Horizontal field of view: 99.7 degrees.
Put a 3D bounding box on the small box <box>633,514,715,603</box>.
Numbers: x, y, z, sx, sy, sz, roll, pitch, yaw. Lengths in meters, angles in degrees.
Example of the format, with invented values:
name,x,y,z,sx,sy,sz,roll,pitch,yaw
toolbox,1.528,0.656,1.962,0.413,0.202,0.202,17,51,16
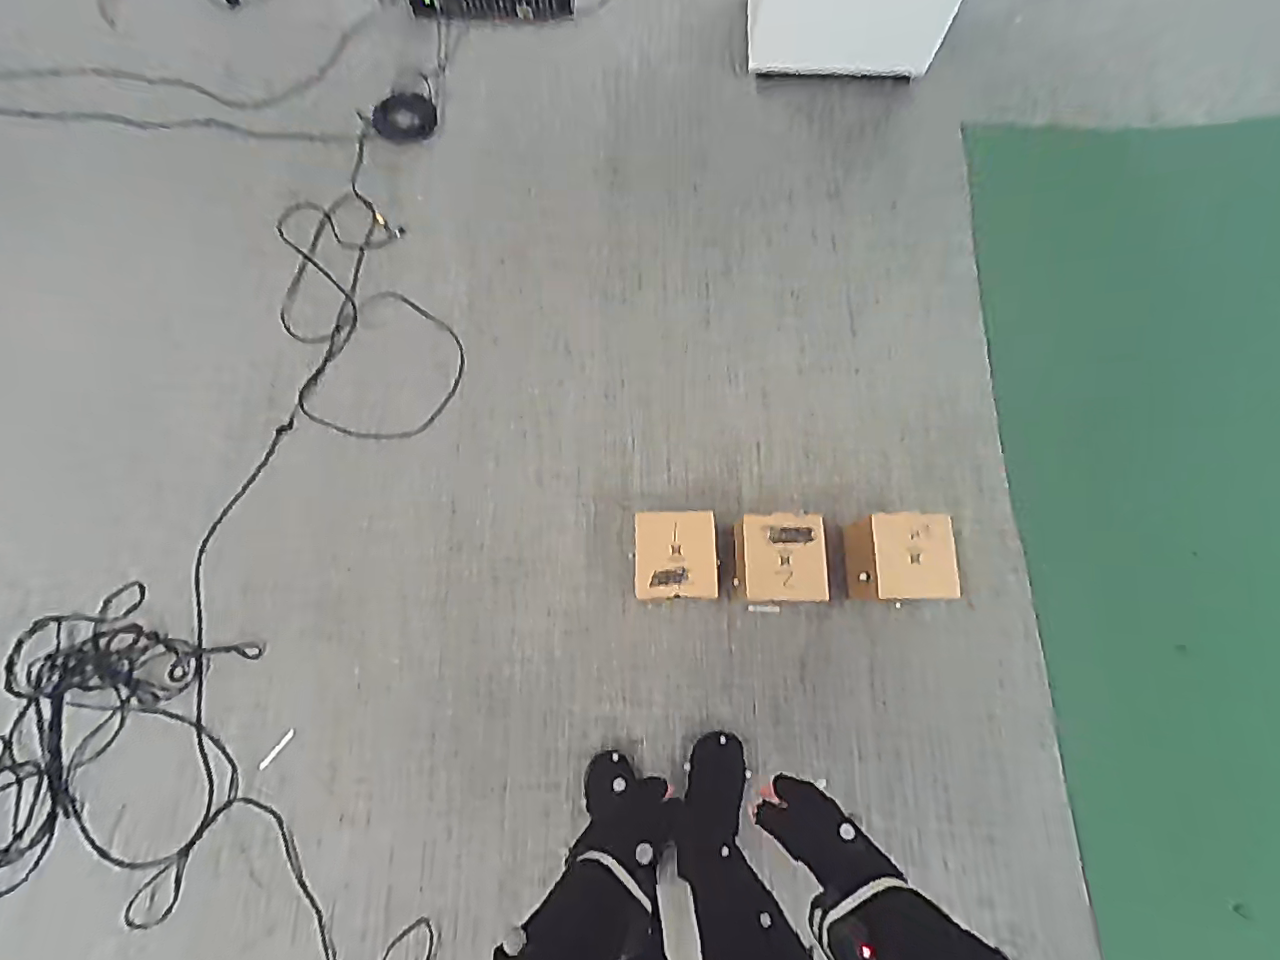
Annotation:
name,x,y,z,sx,sy,sz,roll,pitch,yaw
small box,0.071,0.174,1.169,0.168,0.176,0.179,-1,74,1

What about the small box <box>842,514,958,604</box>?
name,x,y,z,sx,sy,sz,roll,pitch,yaw
small box,0.551,0.176,1.167,0.168,0.176,0.179,1,75,0
